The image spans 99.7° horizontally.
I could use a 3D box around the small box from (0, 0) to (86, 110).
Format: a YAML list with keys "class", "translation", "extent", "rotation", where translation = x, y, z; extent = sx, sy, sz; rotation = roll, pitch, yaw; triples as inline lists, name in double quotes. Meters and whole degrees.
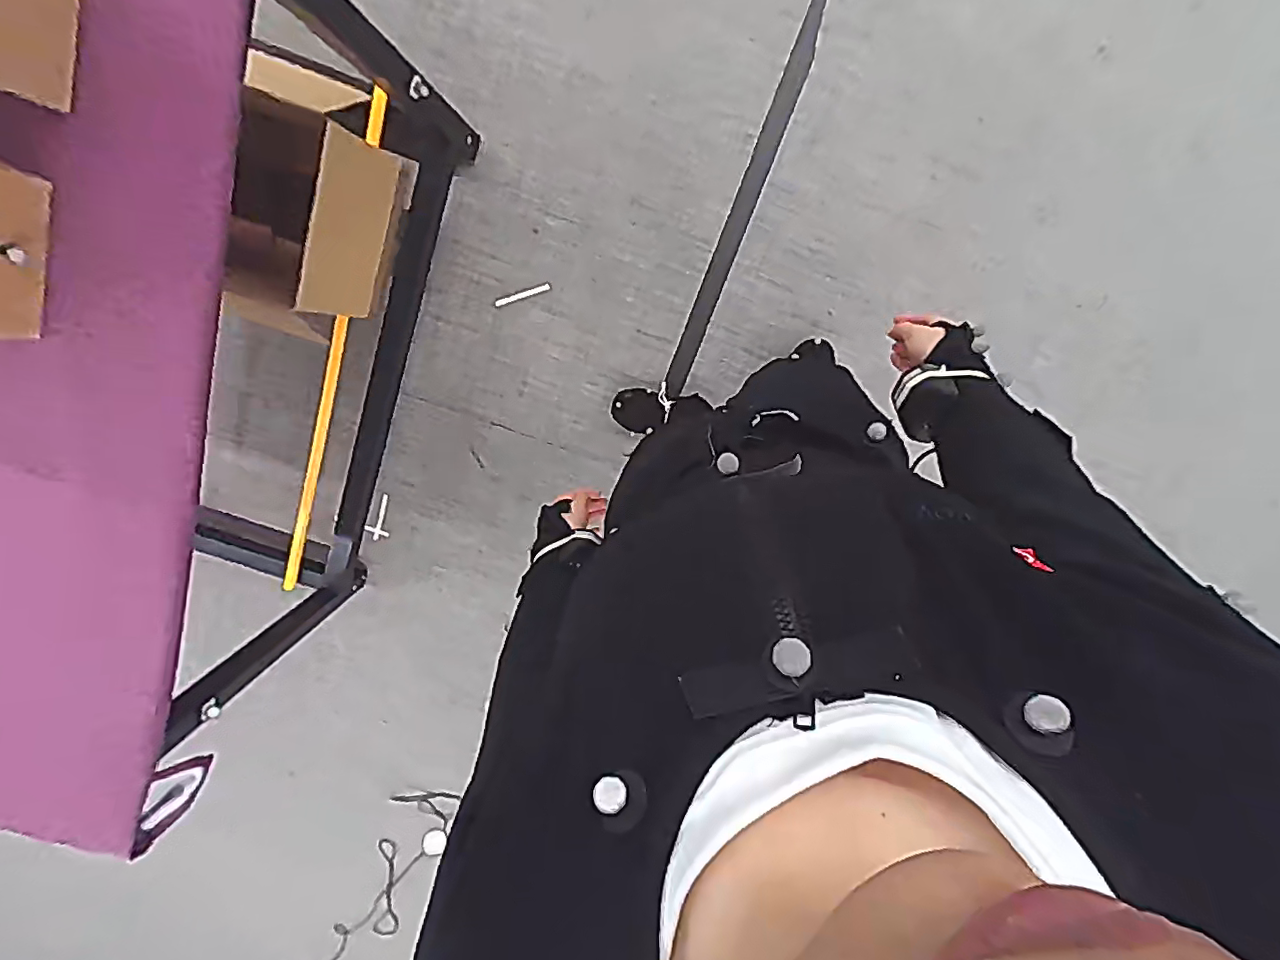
- class: "small box"
  translation: [-0.630, -0.464, 0.456]
  extent: [0.168, 0.176, 0.179]
  rotation: [21, 104, -1]

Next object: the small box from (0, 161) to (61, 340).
- class: "small box"
  translation: [-0.728, -0.246, 0.516]
  extent: [0.168, 0.176, 0.179]
  rotation: [21, 105, -2]
